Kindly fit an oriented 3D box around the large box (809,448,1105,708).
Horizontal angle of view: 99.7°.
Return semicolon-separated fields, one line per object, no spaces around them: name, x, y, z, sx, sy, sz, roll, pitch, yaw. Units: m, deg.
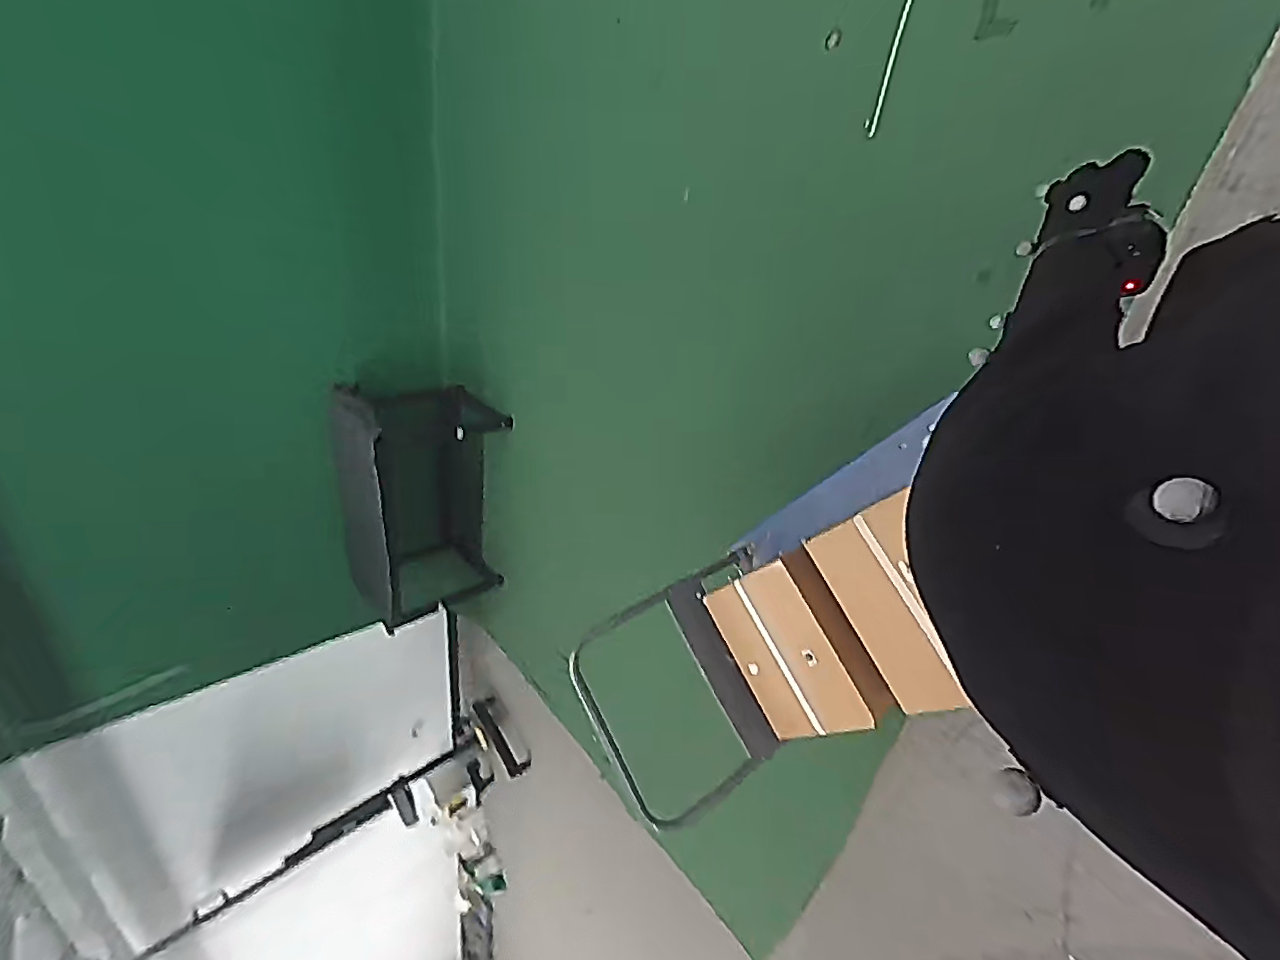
large box;0.653;0.200;1.140;0.320;0.320;0.408;-44;69;48
